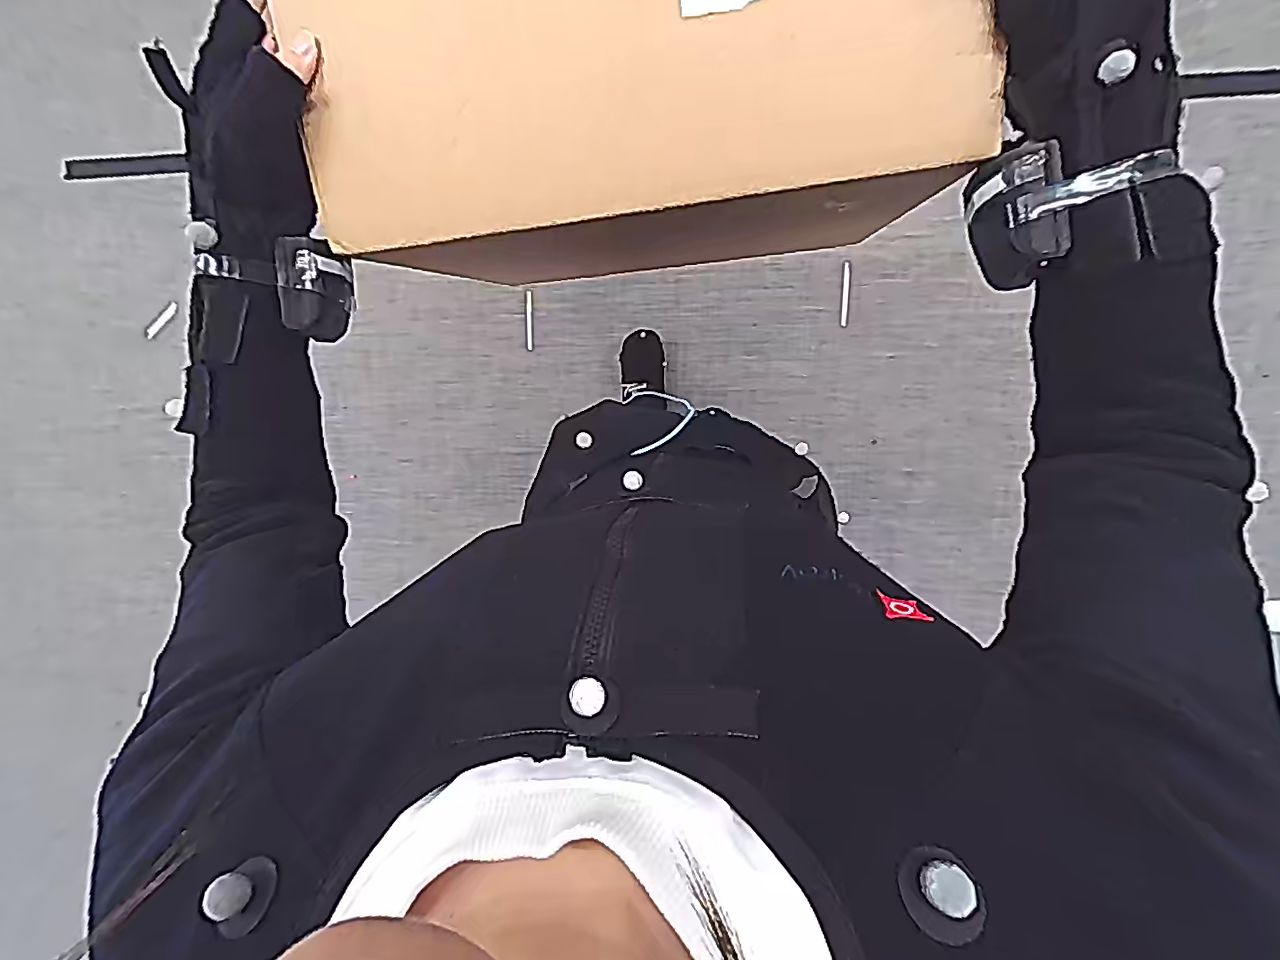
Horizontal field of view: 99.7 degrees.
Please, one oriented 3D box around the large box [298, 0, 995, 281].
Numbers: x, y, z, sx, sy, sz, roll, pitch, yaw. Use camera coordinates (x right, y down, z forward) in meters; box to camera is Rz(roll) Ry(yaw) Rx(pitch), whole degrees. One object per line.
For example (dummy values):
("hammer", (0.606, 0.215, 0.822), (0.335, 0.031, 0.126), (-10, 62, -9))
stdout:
("large box", (0.003, -0.361, 0.439), (0.408, 0.320, 0.320), (-4, 106, 9))
